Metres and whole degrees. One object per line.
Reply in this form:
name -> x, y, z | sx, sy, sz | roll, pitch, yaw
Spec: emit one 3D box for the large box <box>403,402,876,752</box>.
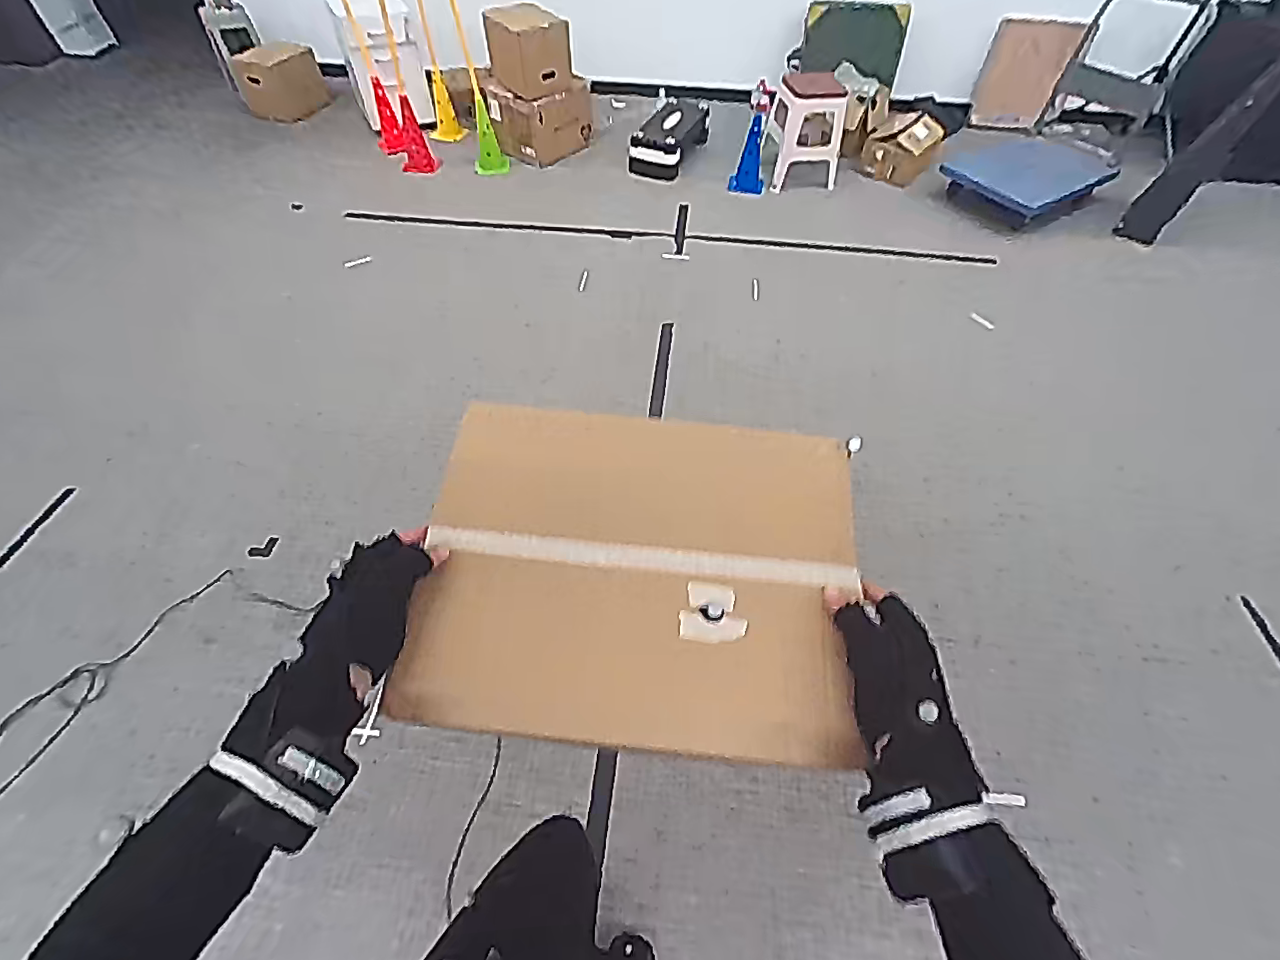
large box -> 0.004, 0.135, 0.645 | 0.408, 0.320, 0.320 | 6, 64, 1
